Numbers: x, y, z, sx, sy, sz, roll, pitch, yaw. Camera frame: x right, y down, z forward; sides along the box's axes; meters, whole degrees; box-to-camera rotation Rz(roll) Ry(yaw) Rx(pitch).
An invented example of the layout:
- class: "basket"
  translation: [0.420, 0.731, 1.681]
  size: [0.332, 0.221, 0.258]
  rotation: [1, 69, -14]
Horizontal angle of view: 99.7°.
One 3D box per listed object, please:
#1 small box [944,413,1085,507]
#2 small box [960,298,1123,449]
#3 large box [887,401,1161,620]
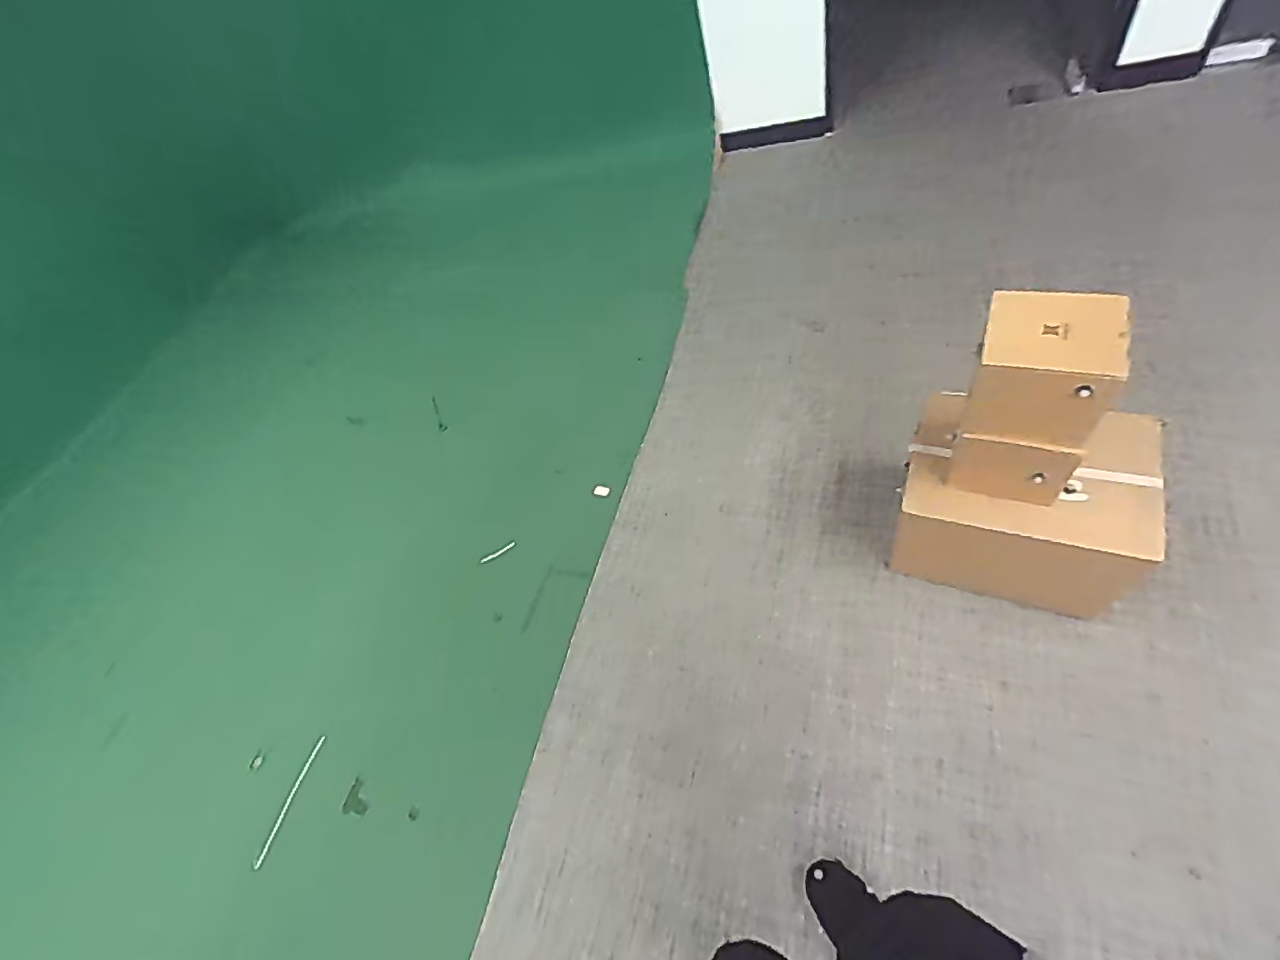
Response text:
- class: "small box"
  translation: [0.677, -0.068, 0.988]
  size: [0.179, 0.176, 0.168]
  rotation: [12, 61, 27]
- class: "small box"
  translation: [0.632, -0.169, 0.867]
  size: [0.179, 0.176, 0.168]
  rotation: [12, 61, 25]
- class: "large box"
  translation: [0.784, 0.063, 1.166]
  size: [0.408, 0.320, 0.320]
  rotation: [12, 63, 24]
